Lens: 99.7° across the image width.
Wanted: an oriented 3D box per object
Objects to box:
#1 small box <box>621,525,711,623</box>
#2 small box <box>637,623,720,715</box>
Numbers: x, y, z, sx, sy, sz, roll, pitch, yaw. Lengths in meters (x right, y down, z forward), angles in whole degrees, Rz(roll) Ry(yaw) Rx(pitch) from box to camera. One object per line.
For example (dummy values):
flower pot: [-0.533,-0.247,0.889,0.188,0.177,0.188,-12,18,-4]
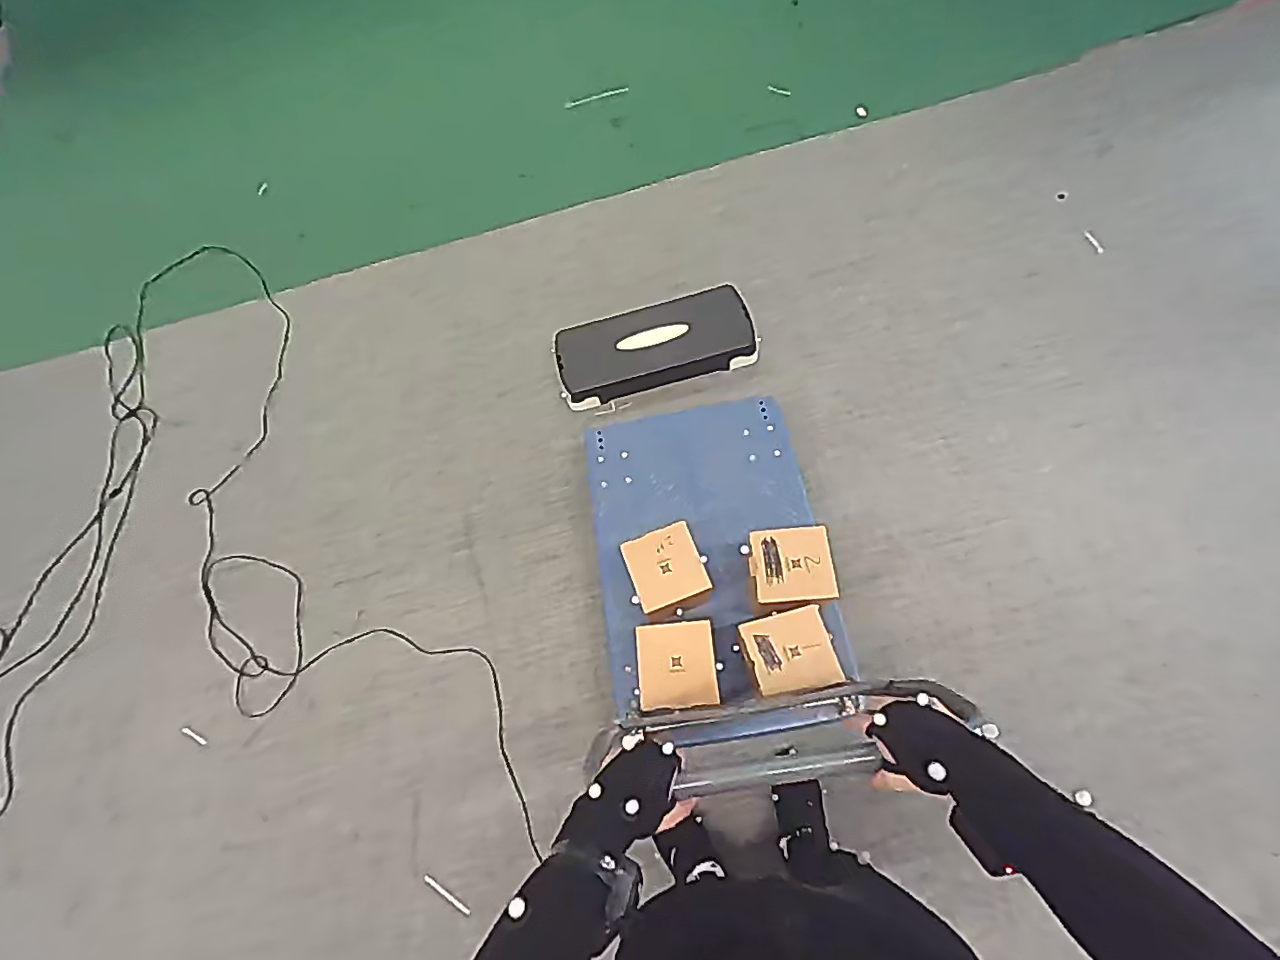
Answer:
small box: [0.066,0.235,1.307,0.168,0.176,0.179,-20,65,-3]
small box: [0.085,0.431,1.220,0.168,0.176,0.179,-6,66,3]
